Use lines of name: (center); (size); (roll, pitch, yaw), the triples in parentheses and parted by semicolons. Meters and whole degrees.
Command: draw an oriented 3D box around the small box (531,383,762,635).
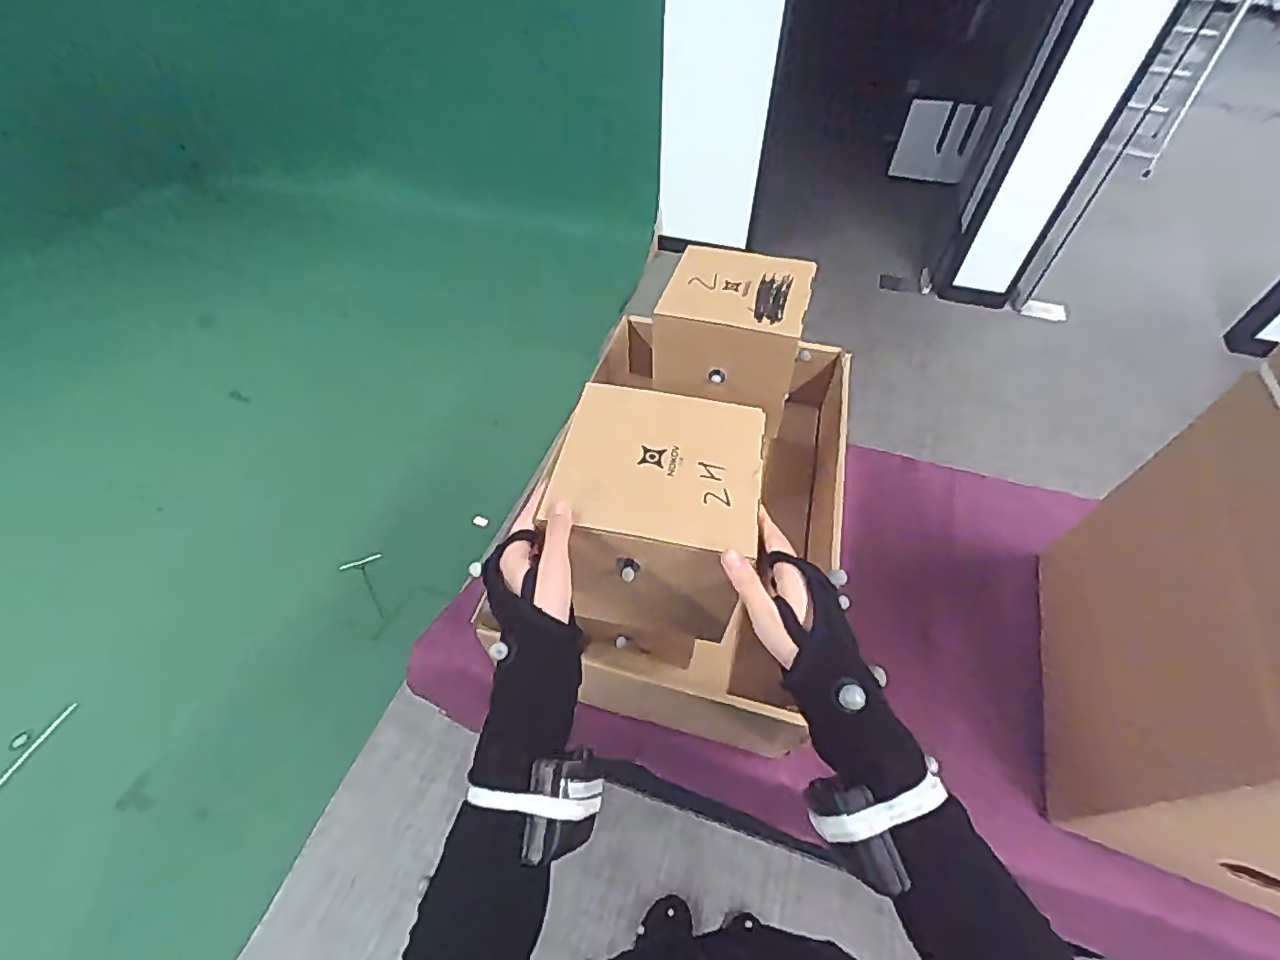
small box: (0.011, 0.033, 0.525); (0.179, 0.176, 0.168); (10, 53, 5)
